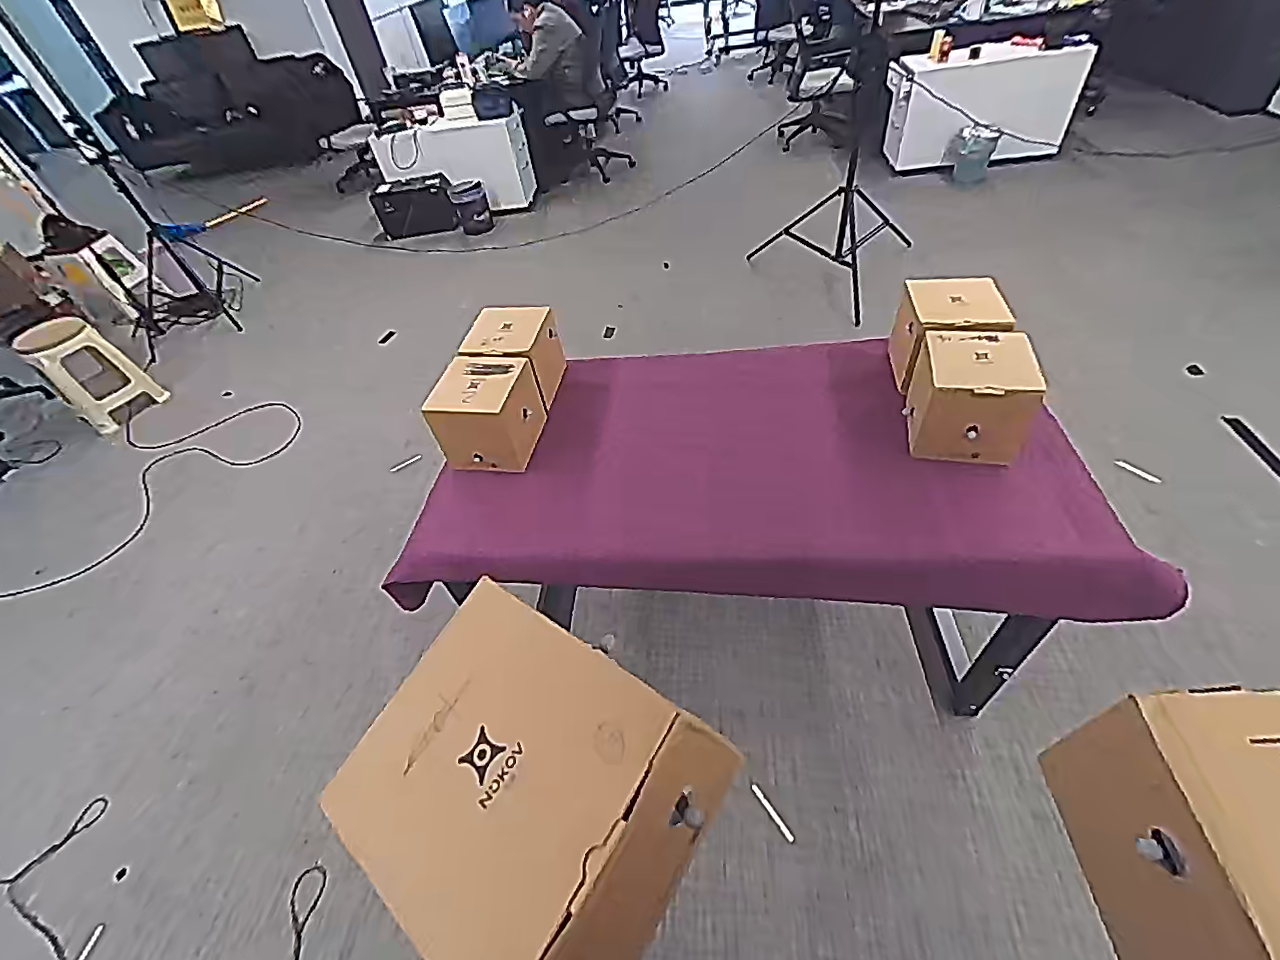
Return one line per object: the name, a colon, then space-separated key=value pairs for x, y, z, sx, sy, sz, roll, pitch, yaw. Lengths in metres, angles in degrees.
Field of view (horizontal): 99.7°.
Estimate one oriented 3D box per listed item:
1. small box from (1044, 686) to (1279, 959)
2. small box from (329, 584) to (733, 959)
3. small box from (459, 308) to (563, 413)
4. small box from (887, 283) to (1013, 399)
small box: x=0.385 y=0.236 z=0.319 sx=0.168 sy=0.176 sz=0.179 roll=-7 pitch=51 yaw=10
small box: x=-0.056 y=0.204 z=0.373 sx=0.179 sy=0.176 sz=0.168 roll=21 pitch=67 yaw=34
small box: x=-0.286 y=-0.277 z=1.248 sx=0.168 sy=0.176 sz=0.179 roll=2 pitch=49 yaw=11
small box: x=0.623 y=-0.288 z=1.115 sx=0.168 sy=0.176 sz=0.179 roll=2 pitch=47 yaw=10
